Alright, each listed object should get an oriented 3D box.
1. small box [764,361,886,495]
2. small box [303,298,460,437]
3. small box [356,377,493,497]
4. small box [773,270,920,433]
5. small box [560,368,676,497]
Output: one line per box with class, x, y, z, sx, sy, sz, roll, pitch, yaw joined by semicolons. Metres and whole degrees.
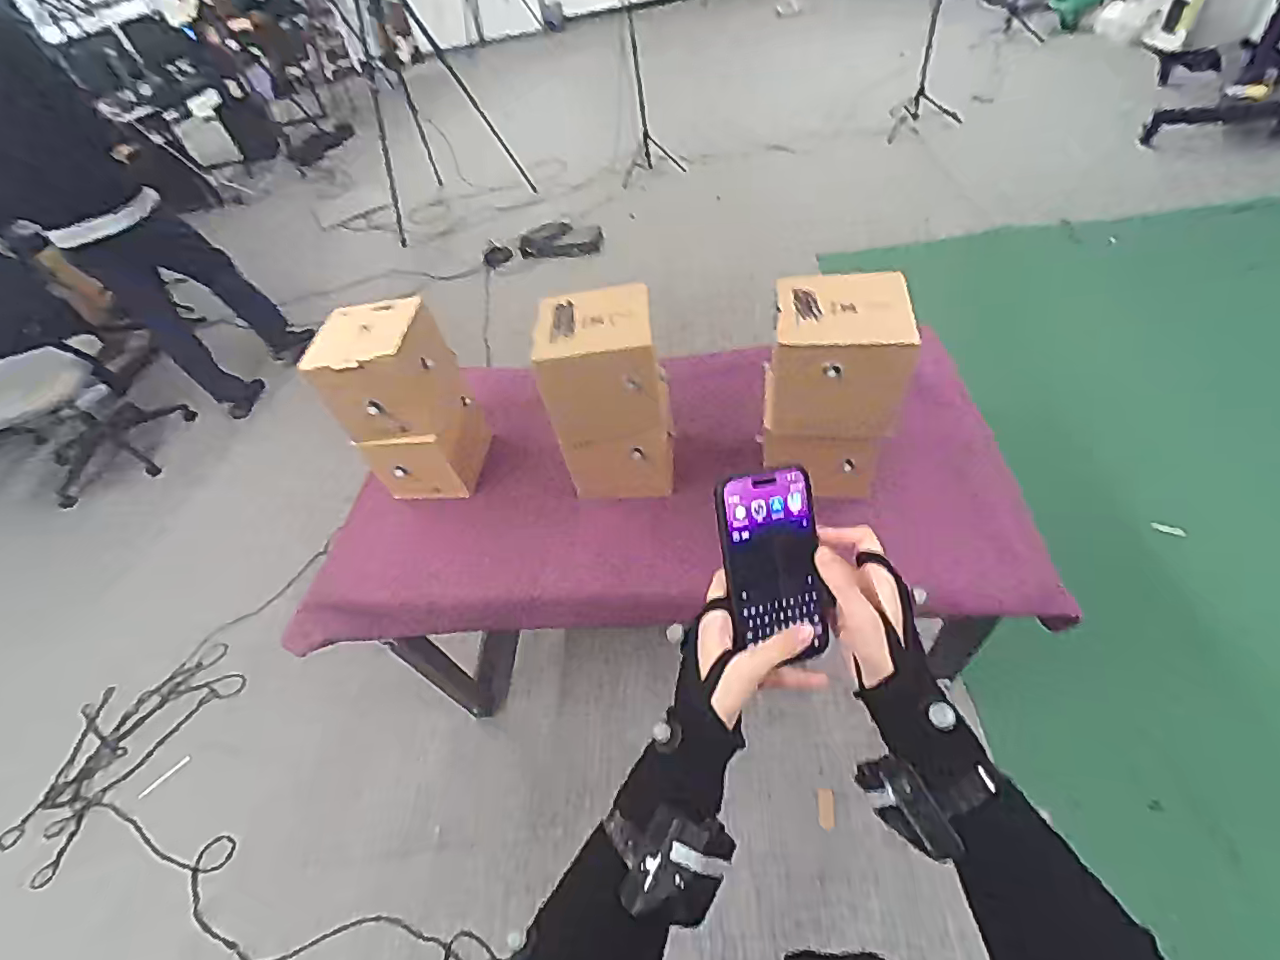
small box;0.306;-0.087;0.919;0.179;0.176;0.168;2;50;15
small box;-0.438;-0.190;0.952;0.168;0.176;0.179;-6;49;6
small box;-0.411;-0.078;1.069;0.168;0.176;0.179;-2;49;10
small box;0.286;-0.182;0.786;0.179;0.176;0.168;2;50;13
small box;-0.029;-0.082;0.986;0.179;0.176;0.168;-3;49;10
